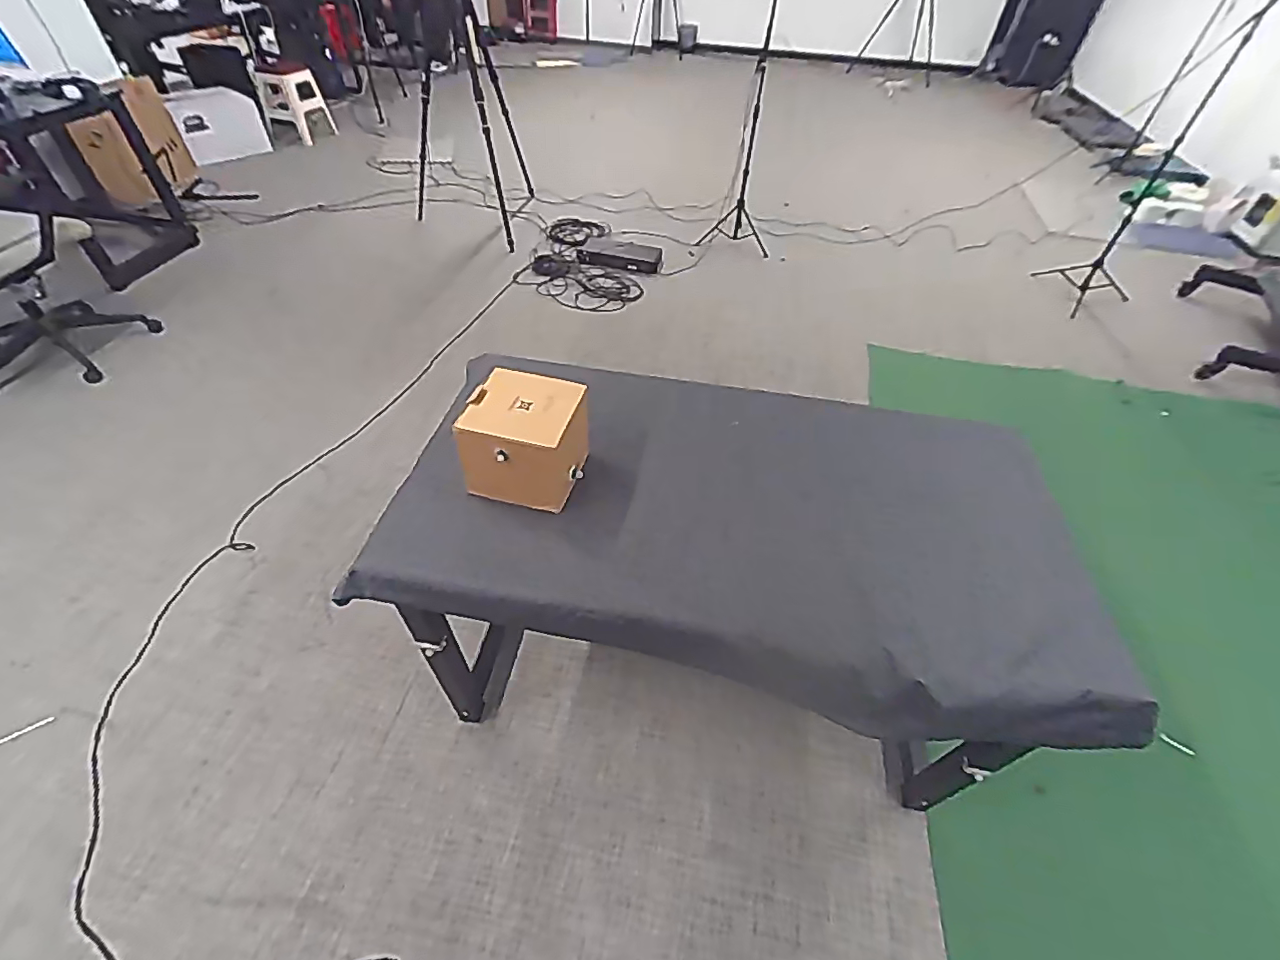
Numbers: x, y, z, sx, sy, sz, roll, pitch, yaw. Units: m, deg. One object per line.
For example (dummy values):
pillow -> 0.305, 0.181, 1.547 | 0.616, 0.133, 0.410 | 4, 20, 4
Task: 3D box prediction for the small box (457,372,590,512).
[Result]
small box -> -0.196, -0.064, 0.962 | 0.179, 0.176, 0.168 | 13, 49, 6
